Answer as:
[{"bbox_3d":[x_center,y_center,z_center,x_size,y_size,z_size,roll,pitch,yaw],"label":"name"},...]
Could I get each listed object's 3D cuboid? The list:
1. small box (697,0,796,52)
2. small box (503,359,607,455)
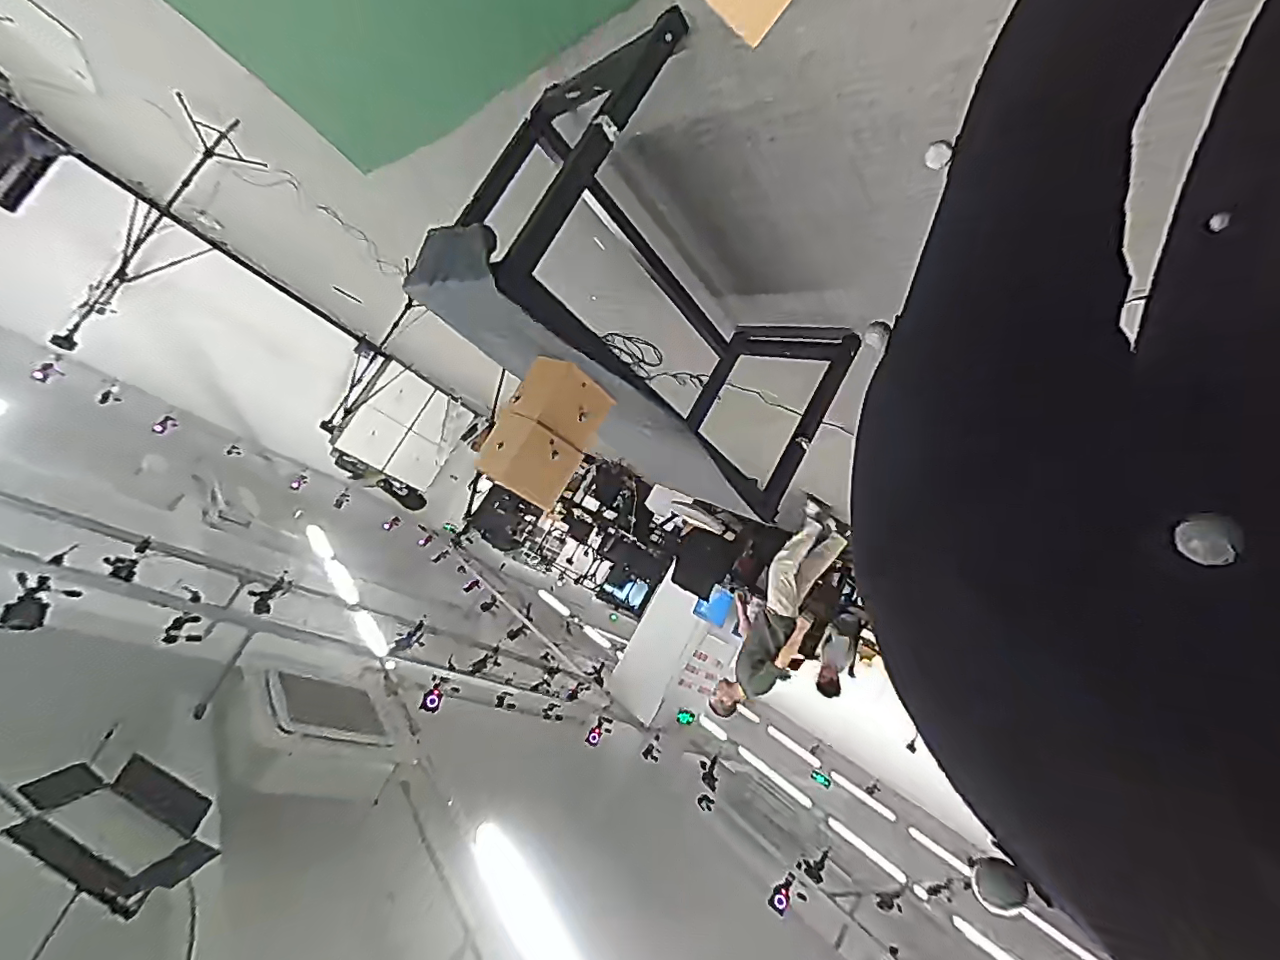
[{"bbox_3d":[0.131,-0.597,0.527,0.168,0.176,0.179,31,173,-19],"label":"small box"},{"bbox_3d":[-0.207,-0.187,1.363,0.179,0.176,0.168,23,170,48],"label":"small box"}]
